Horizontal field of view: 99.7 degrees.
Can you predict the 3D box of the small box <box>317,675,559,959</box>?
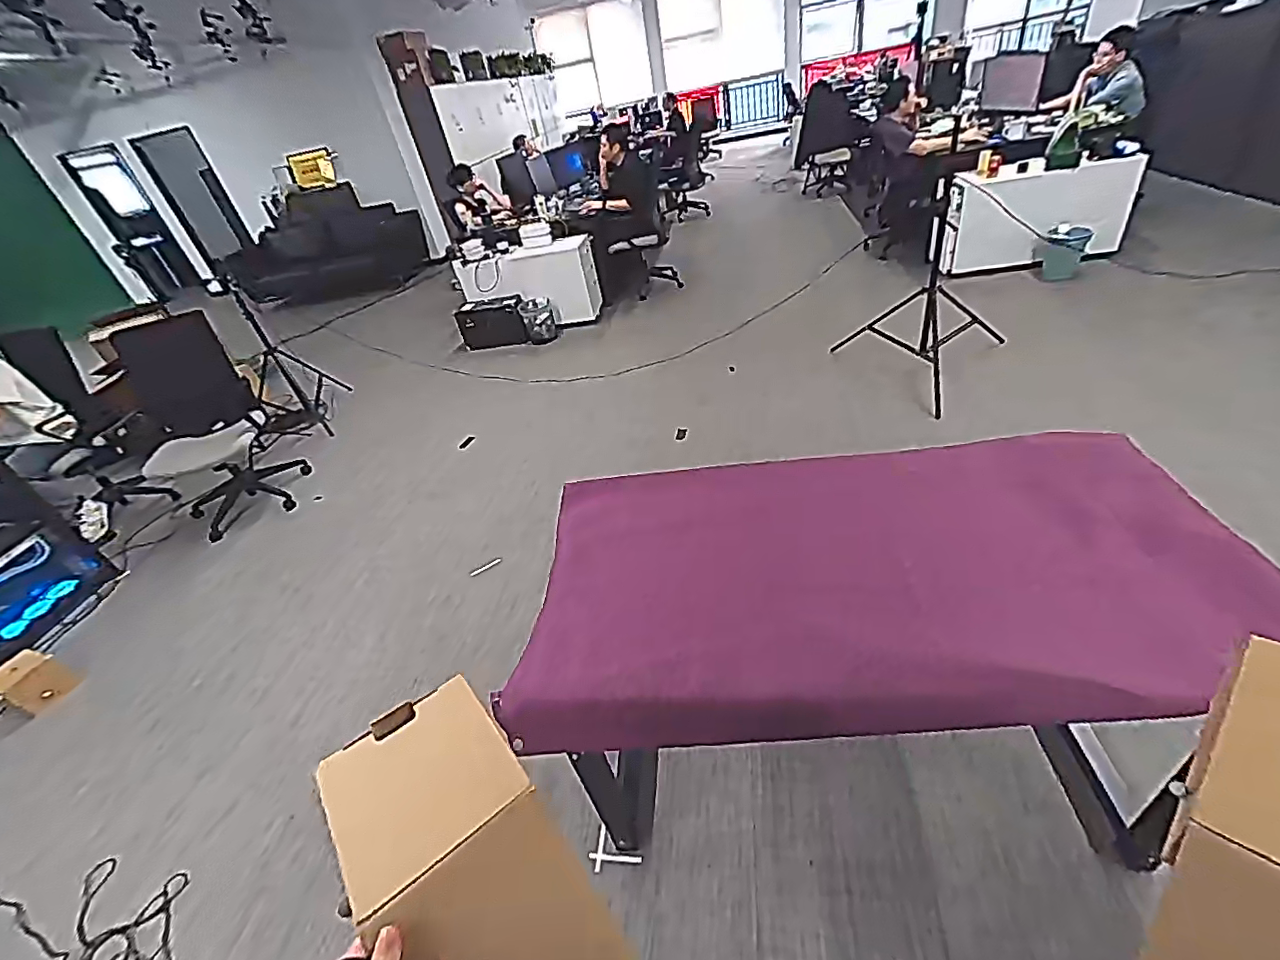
[{"bbox_3d":[-0.205,0.356,0.572,0.168,0.176,0.179,-27,37,-28],"label":"small box"}]
